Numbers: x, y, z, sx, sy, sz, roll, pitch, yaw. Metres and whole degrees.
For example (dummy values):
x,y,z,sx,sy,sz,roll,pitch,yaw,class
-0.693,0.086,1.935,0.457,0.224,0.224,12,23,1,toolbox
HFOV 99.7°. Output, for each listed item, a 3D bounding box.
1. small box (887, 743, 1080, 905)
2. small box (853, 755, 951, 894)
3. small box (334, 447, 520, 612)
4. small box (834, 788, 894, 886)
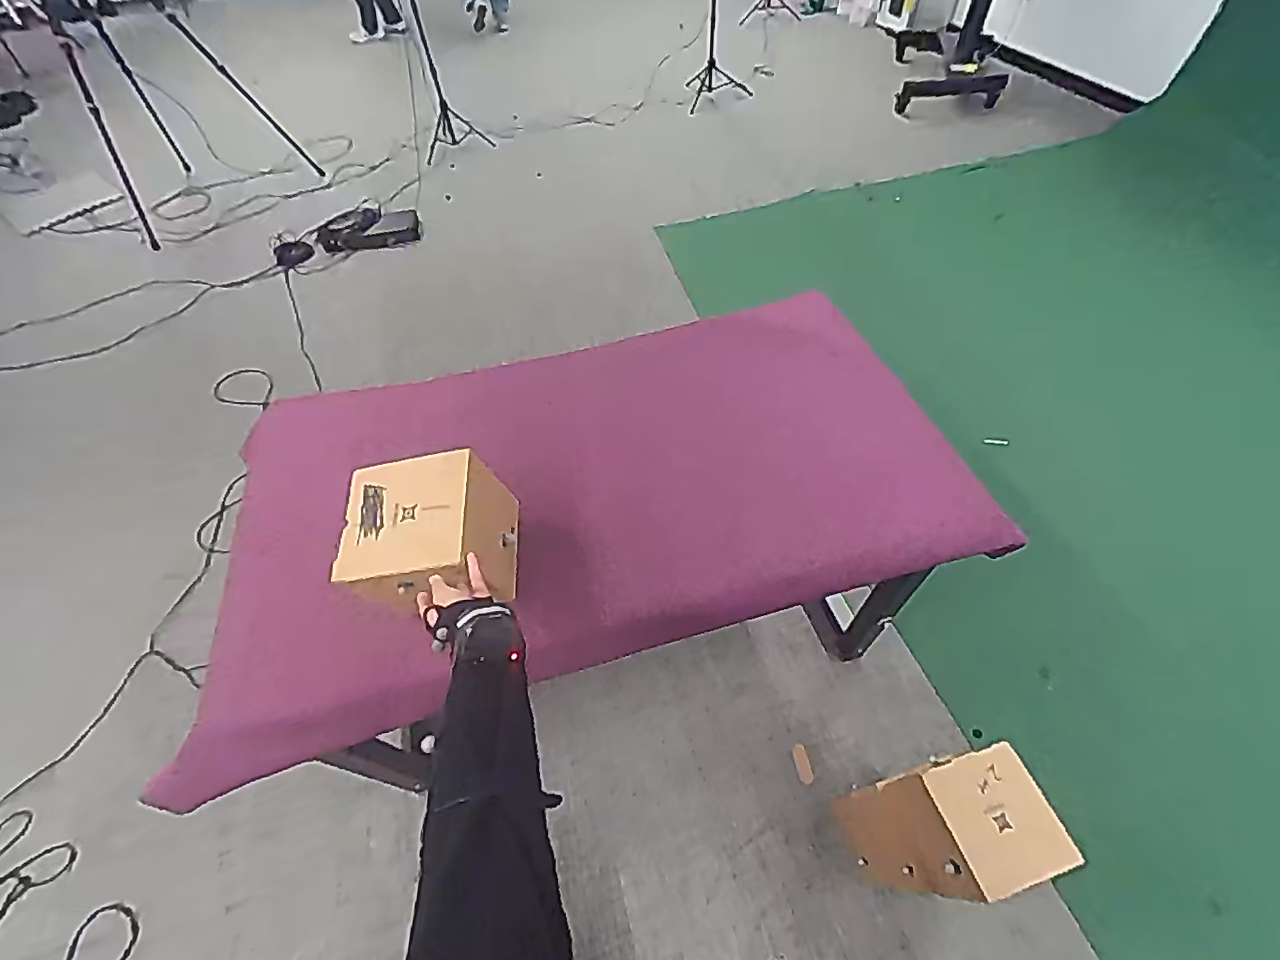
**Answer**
x,y,z,sx,sy,sz,roll,pitch,yaw,class
0.544,0.559,0.887,0.168,0.176,0.179,-15,55,-8,small box
0.534,0.651,1.024,0.168,0.176,0.179,-16,56,-8,small box
-0.288,0.079,0.770,0.179,0.176,0.168,-10,58,7,small box
0.536,0.746,1.155,0.179,0.176,0.168,-13,54,-7,small box
